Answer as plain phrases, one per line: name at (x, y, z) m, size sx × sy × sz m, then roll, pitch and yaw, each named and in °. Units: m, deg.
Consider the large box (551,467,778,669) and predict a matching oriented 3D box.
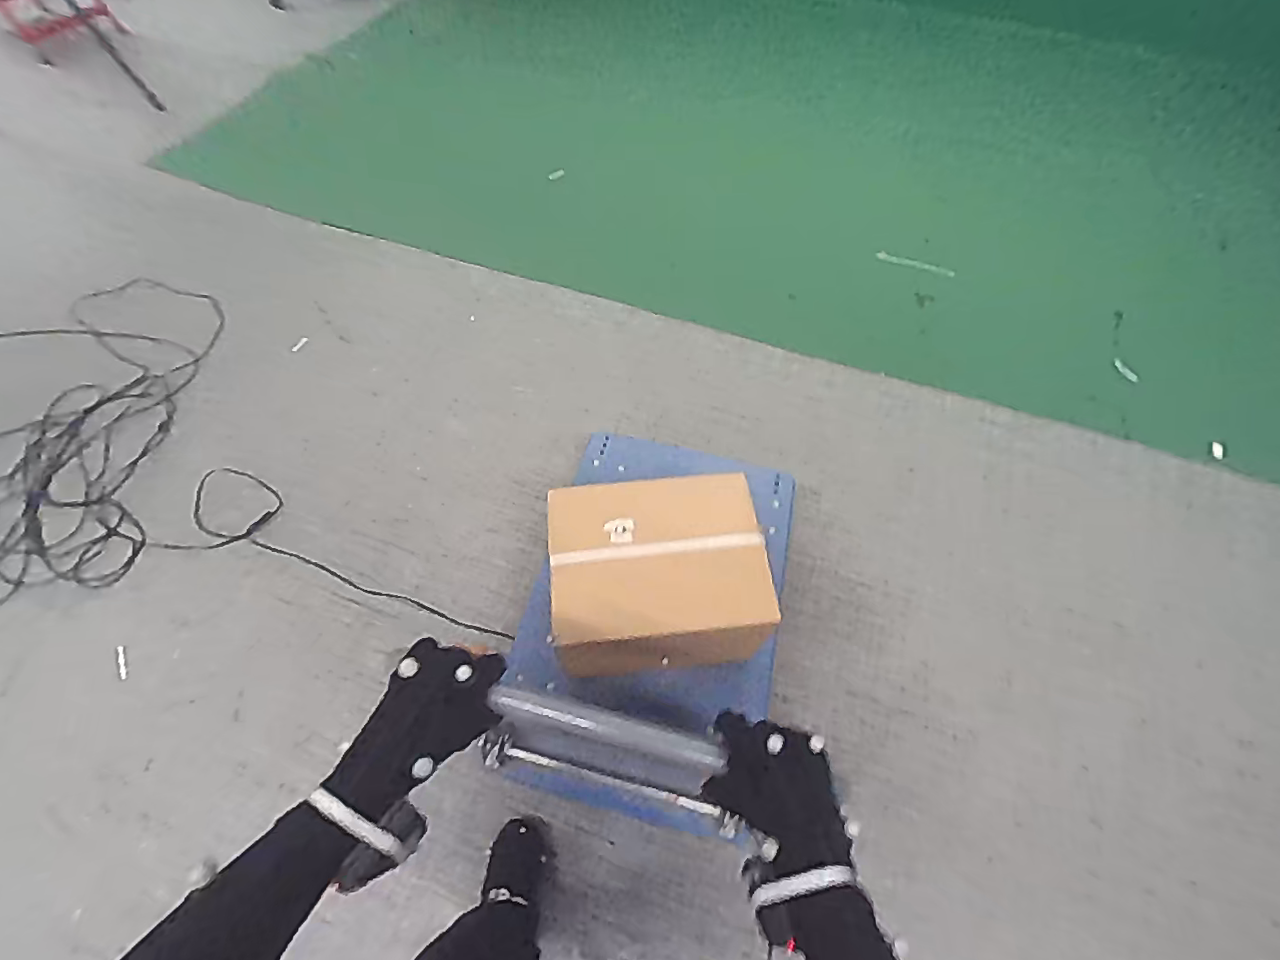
large box at (0.036, 0.199, 1.161) m, size 0.408 × 0.320 × 0.320 m, roll -6°, pitch 59°, yaw -4°
